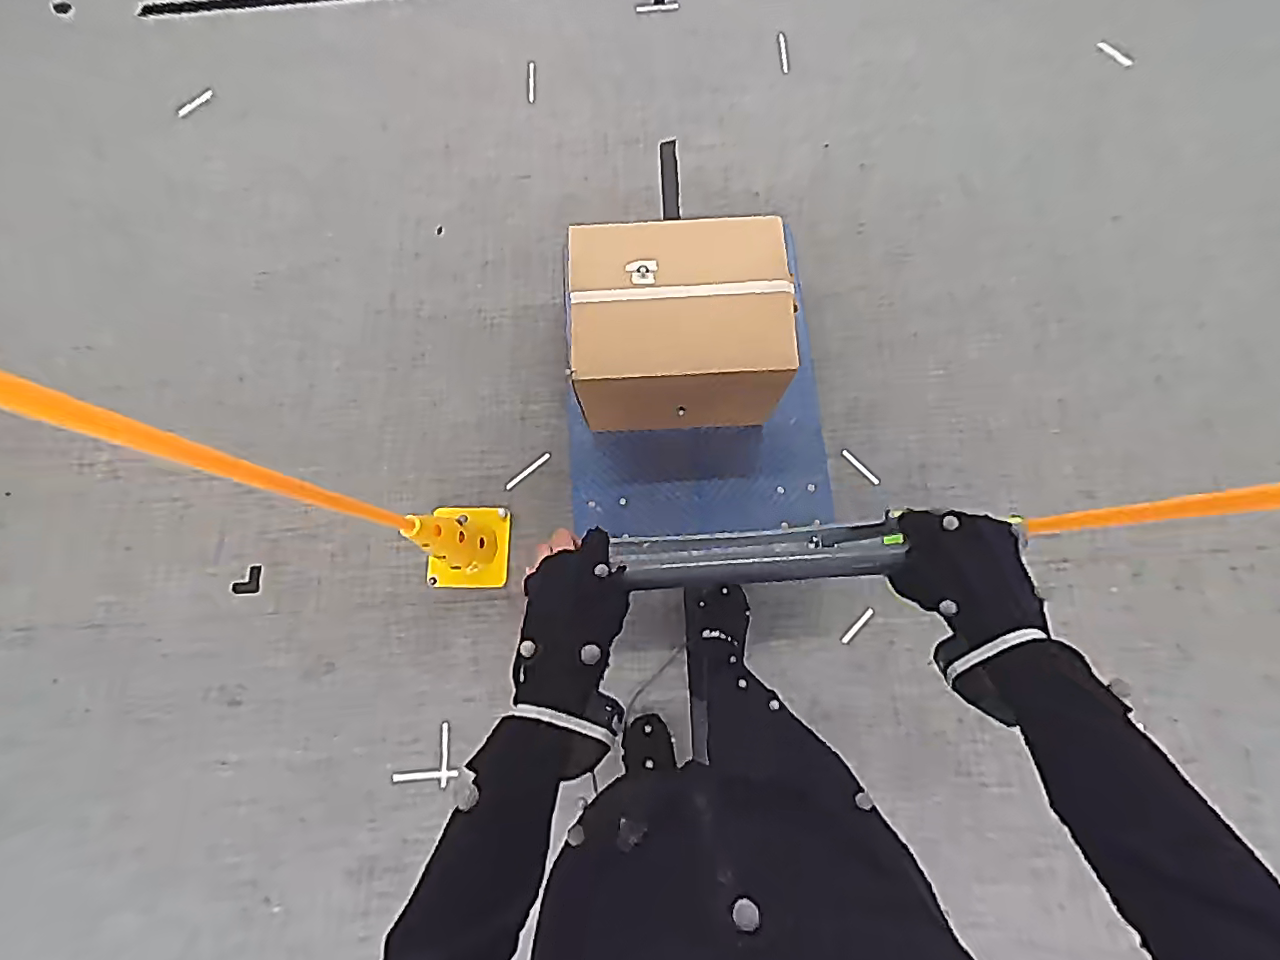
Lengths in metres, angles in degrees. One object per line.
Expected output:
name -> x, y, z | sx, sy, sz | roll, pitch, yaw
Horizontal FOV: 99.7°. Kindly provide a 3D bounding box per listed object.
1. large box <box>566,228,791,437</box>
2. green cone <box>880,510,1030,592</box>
large box -> 0.072, -0.287, 1.147 | 0.408, 0.320, 0.320 | -3, 77, 2
green cone -> 0.697, 0.133, 1.169 | 0.202, 0.368, 0.200 | 1, 76, 1
